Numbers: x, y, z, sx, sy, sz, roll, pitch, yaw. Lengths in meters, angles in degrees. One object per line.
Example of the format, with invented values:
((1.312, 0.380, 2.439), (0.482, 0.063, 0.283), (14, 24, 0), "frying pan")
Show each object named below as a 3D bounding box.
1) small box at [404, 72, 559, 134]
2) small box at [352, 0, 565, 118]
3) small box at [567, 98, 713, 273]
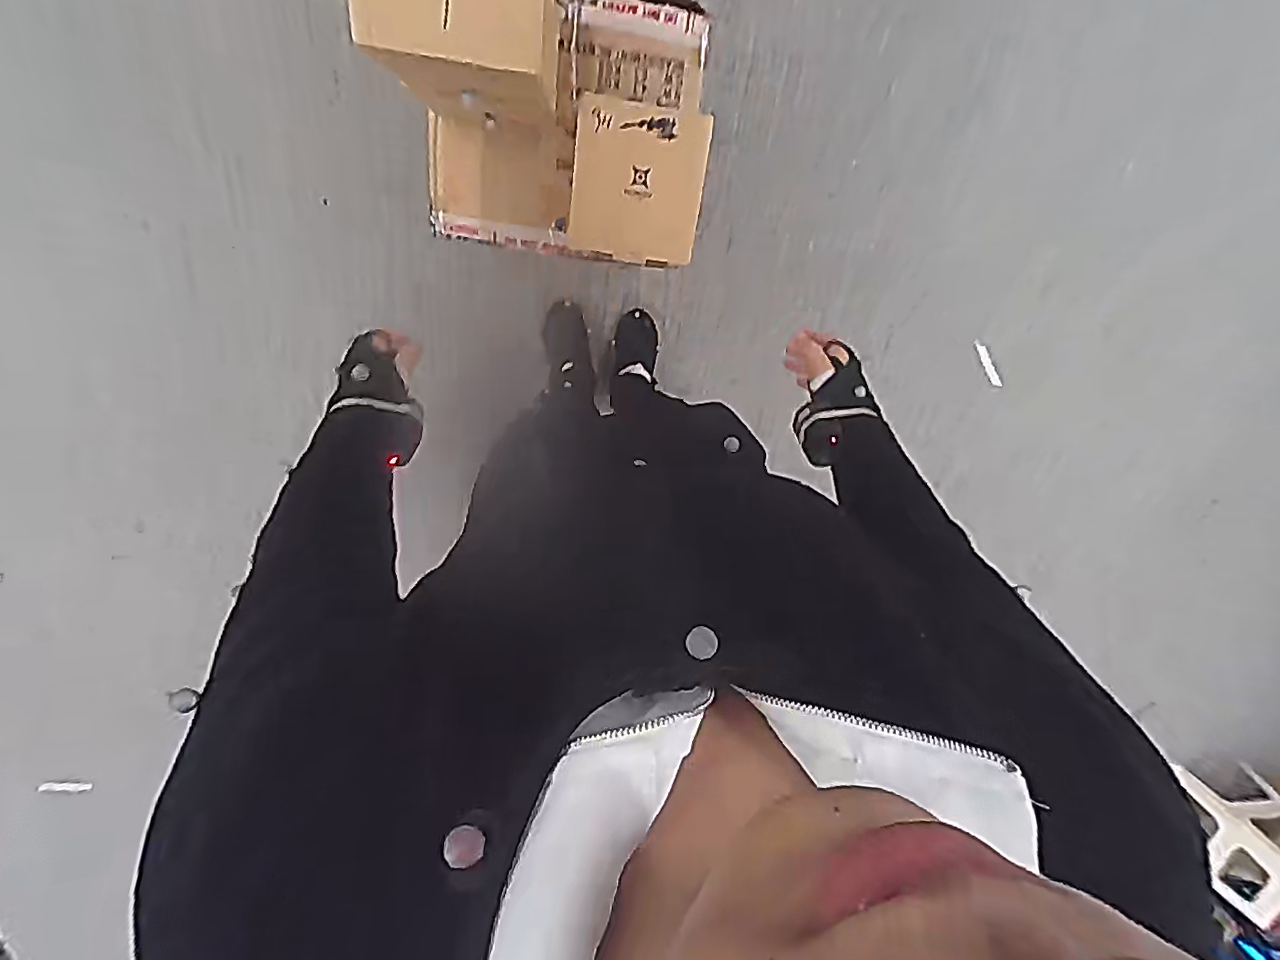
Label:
((-0.189, -0.551, 0.667), (0.168, 0.176, 0.179), (2, 115, -5), "small box")
((-0.163, -0.478, 0.521), (0.168, 0.176, 0.179), (5, 114, -6), "small box")
((-0.010, -0.398, 0.753), (0.168, 0.176, 0.179), (5, 114, -9), "small box")
